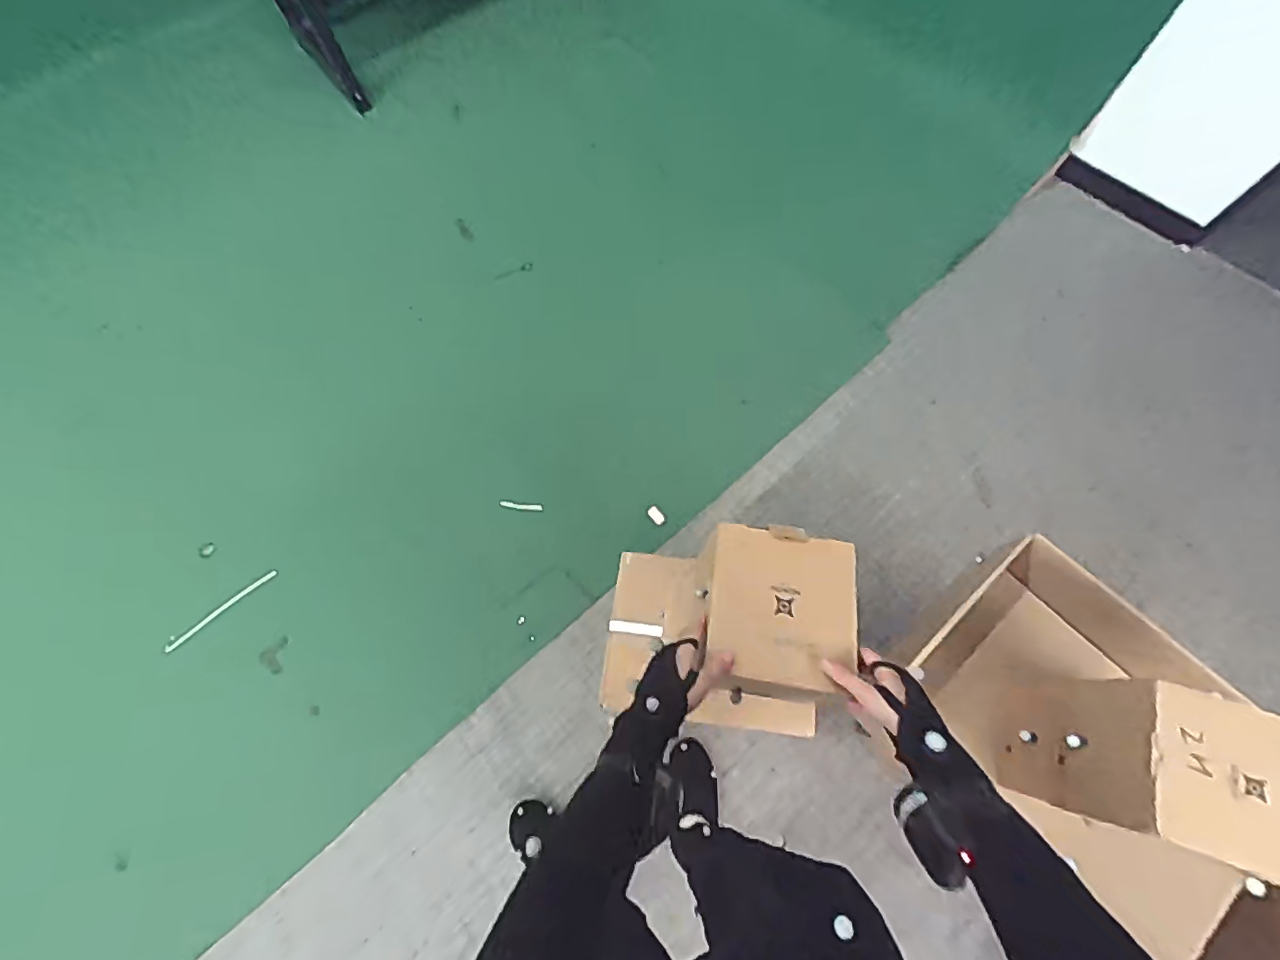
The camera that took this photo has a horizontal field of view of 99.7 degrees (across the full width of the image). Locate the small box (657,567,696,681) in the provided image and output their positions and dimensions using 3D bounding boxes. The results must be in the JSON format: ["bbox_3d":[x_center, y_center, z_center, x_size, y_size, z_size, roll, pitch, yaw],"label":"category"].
[{"bbox_3d":[0.125,0.272,0.976,0.168,0.176,0.179,9,70,7],"label":"small box"}]

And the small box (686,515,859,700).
[{"bbox_3d":[0.155,0.164,0.667,0.168,0.176,0.179,9,66,1],"label":"small box"}]

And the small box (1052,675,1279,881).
[{"bbox_3d":[0.637,0.340,0.635,0.179,0.176,0.168,17,71,10],"label":"small box"}]
